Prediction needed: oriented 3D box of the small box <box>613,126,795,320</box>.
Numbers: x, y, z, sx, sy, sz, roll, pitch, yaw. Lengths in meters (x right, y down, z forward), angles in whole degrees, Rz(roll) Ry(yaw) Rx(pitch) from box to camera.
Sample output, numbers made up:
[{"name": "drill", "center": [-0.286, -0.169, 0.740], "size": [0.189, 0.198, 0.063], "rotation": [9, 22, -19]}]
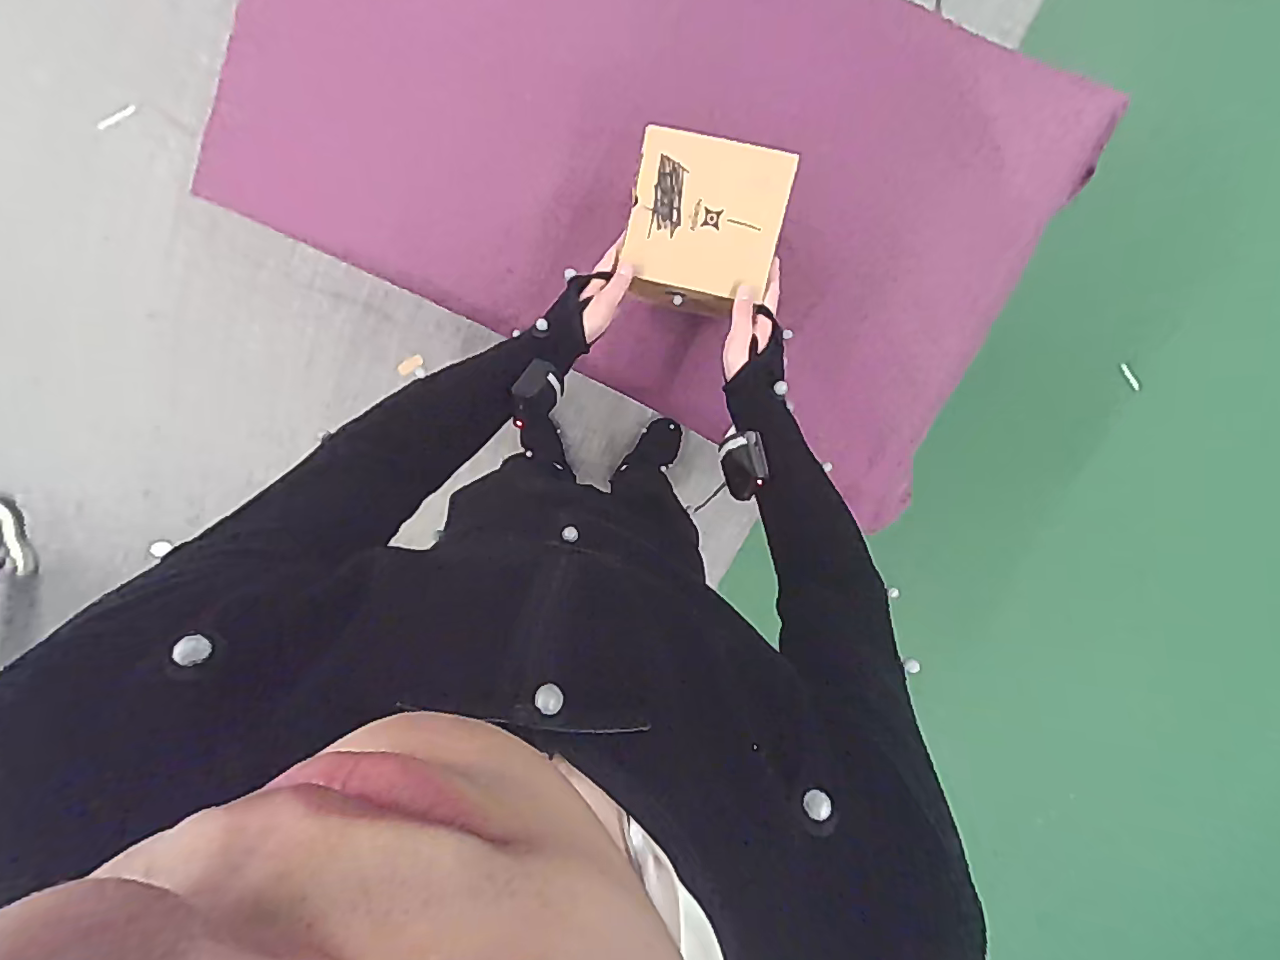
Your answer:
[{"name": "small box", "center": [0.076, -0.311, 0.692], "size": [0.179, 0.176, 0.168], "rotation": [13, 100, 1]}]
